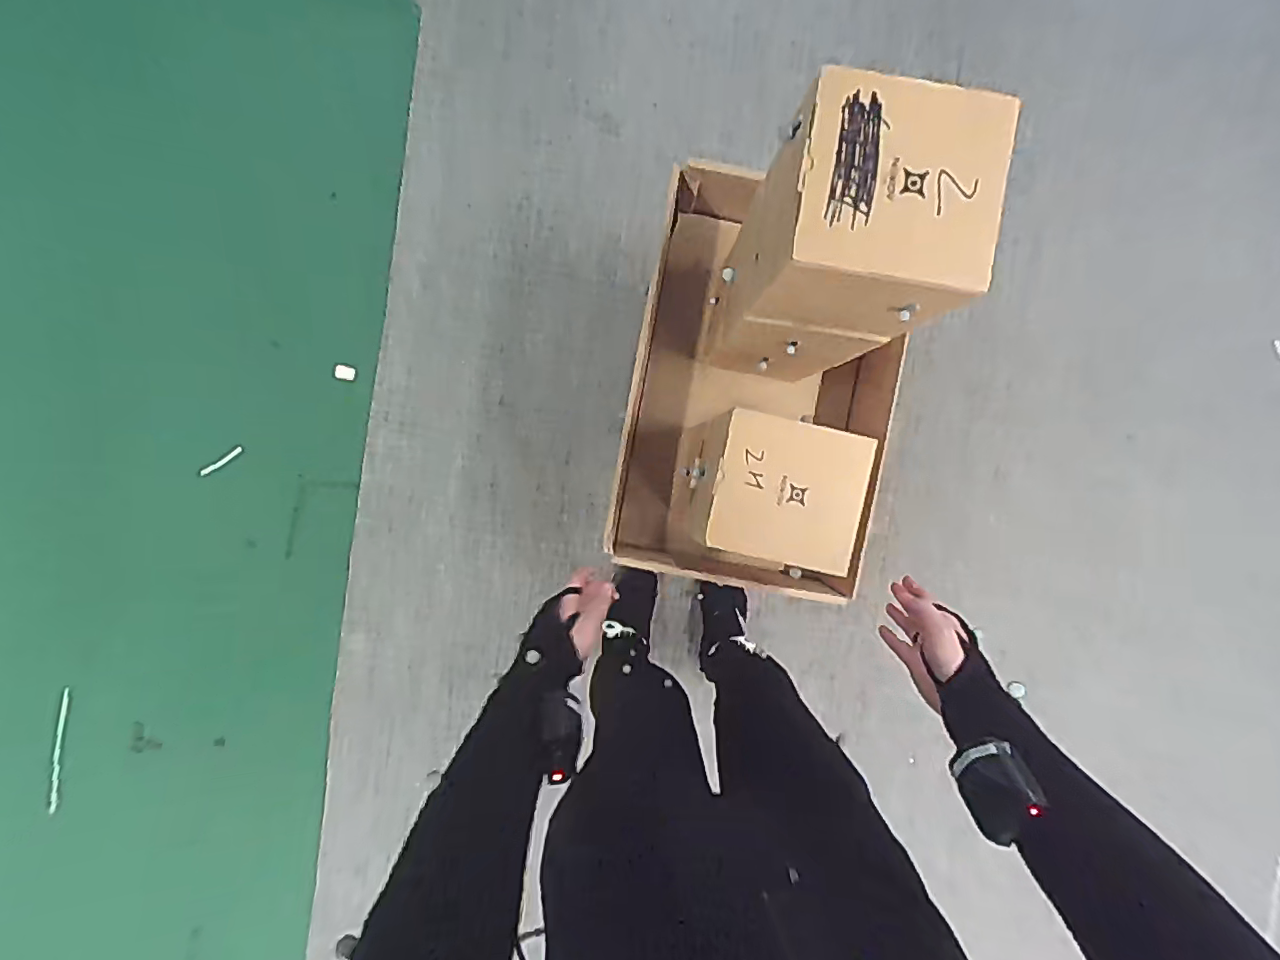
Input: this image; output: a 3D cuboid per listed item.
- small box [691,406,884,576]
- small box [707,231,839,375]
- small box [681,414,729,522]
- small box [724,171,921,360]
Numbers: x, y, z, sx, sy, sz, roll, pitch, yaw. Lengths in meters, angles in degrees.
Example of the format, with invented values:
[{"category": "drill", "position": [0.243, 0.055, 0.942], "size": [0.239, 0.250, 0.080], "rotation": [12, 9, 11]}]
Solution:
[{"category": "small box", "position": [0.176, 0.010, 0.697], "size": [0.179, 0.176, 0.168], "rotation": [13, 91, -2]}, {"category": "small box", "position": [0.216, -0.268, 0.855], "size": [0.179, 0.176, 0.168], "rotation": [11, 92, -2]}, {"category": "small box", "position": [0.168, 0.000, 0.861], "size": [0.179, 0.176, 0.168], "rotation": [12, 92, -2]}, {"category": "small box", "position": [0.219, -0.258, 0.692], "size": [0.179, 0.176, 0.168], "rotation": [9, 92, -1]}]
